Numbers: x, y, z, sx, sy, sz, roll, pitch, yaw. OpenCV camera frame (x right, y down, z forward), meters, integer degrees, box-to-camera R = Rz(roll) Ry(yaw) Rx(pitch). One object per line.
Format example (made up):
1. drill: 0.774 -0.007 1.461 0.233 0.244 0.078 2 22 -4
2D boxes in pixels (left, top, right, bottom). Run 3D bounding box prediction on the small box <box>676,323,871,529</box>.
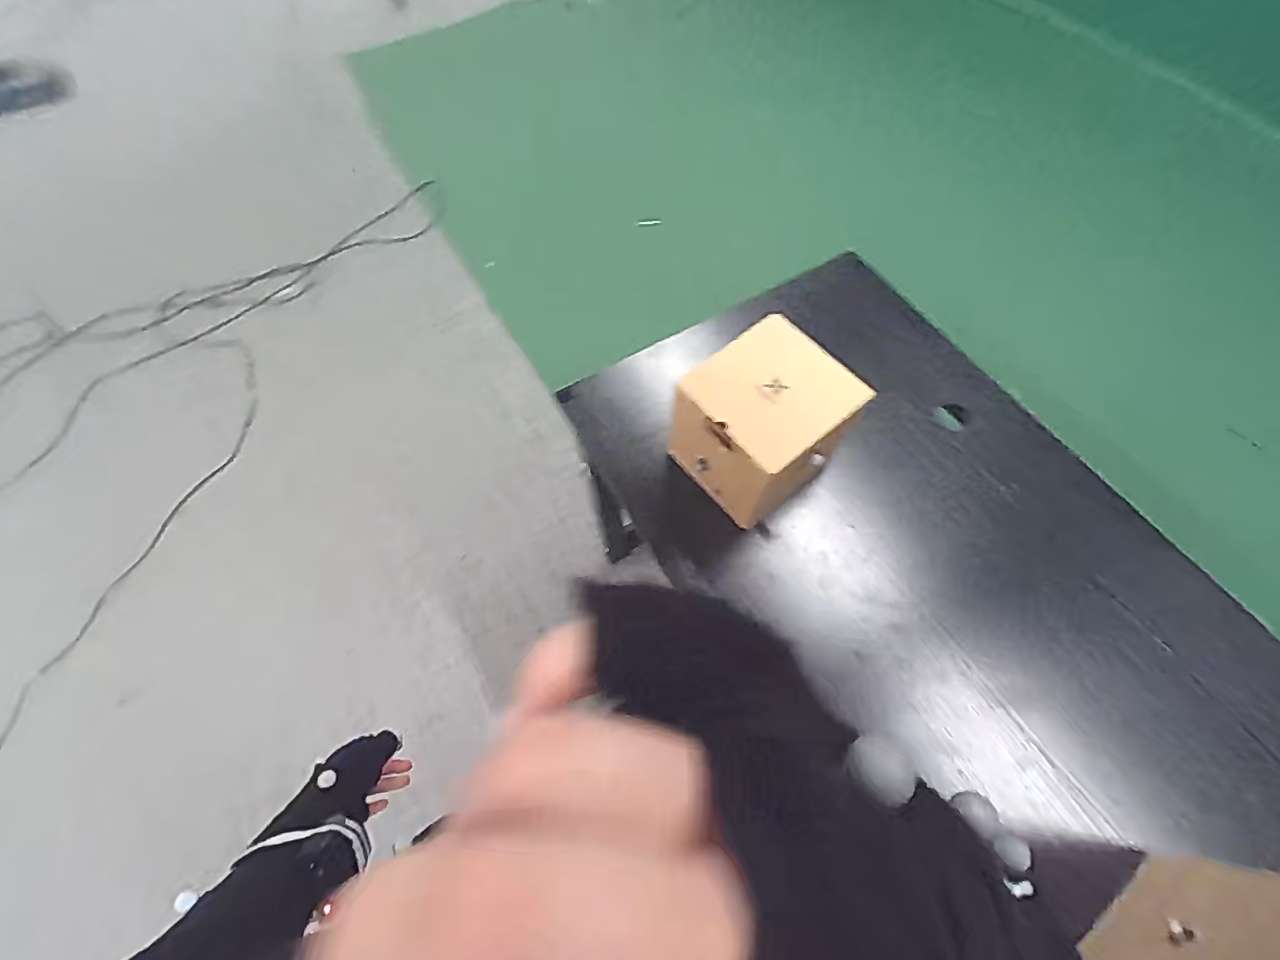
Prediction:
1. small box: 0.162 -0.065 0.721 0.179 0.176 0.168 -37 69 -15
